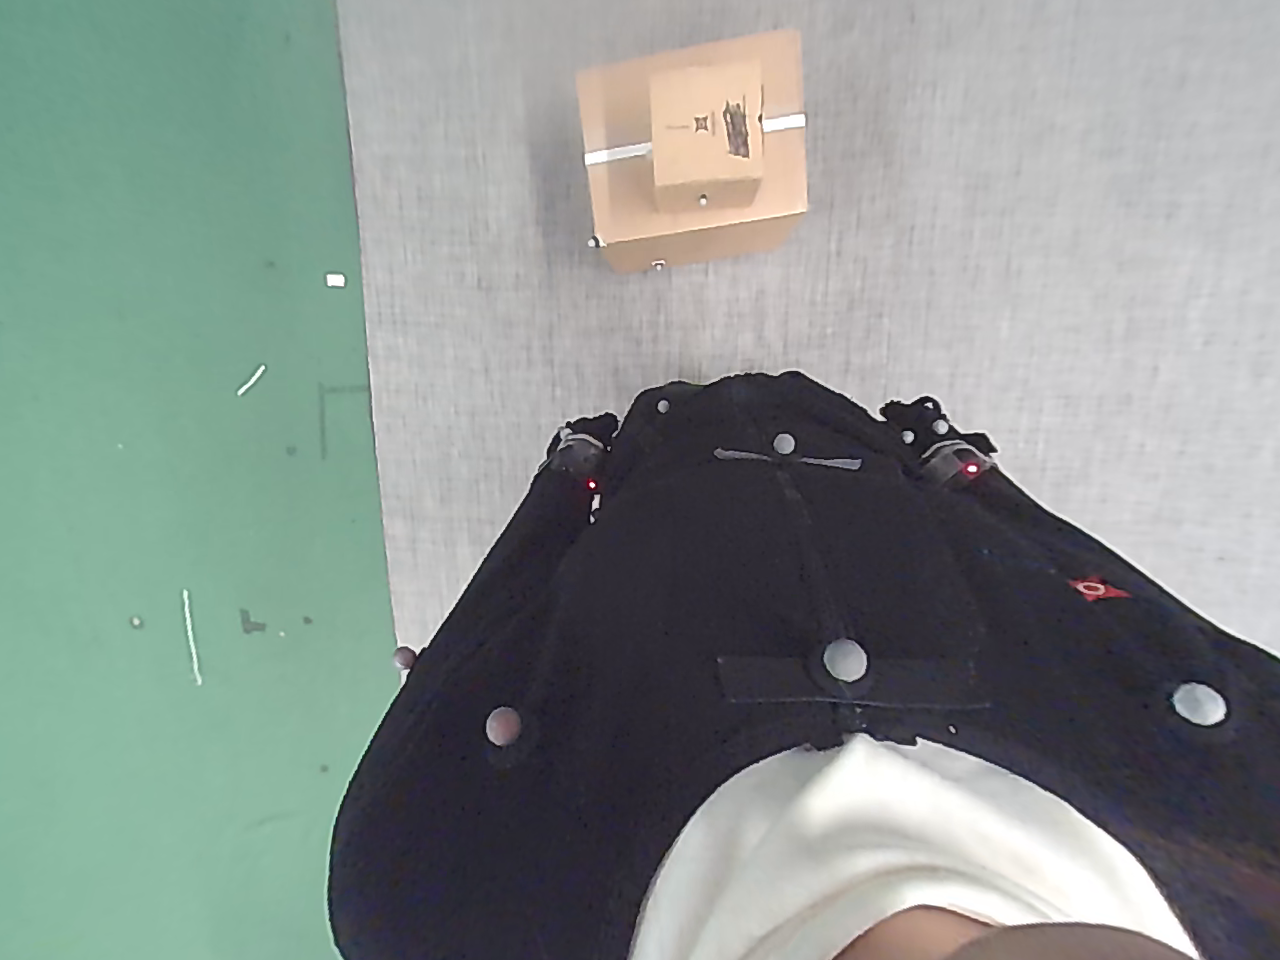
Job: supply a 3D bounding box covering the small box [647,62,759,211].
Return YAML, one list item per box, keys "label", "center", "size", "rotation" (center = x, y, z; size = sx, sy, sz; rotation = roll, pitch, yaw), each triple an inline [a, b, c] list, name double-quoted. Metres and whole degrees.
- label: "small box"
  center: [0.106, -0.577, 0.931]
  size: [0.179, 0.176, 0.168]
  rotation: [-2, 102, 7]
